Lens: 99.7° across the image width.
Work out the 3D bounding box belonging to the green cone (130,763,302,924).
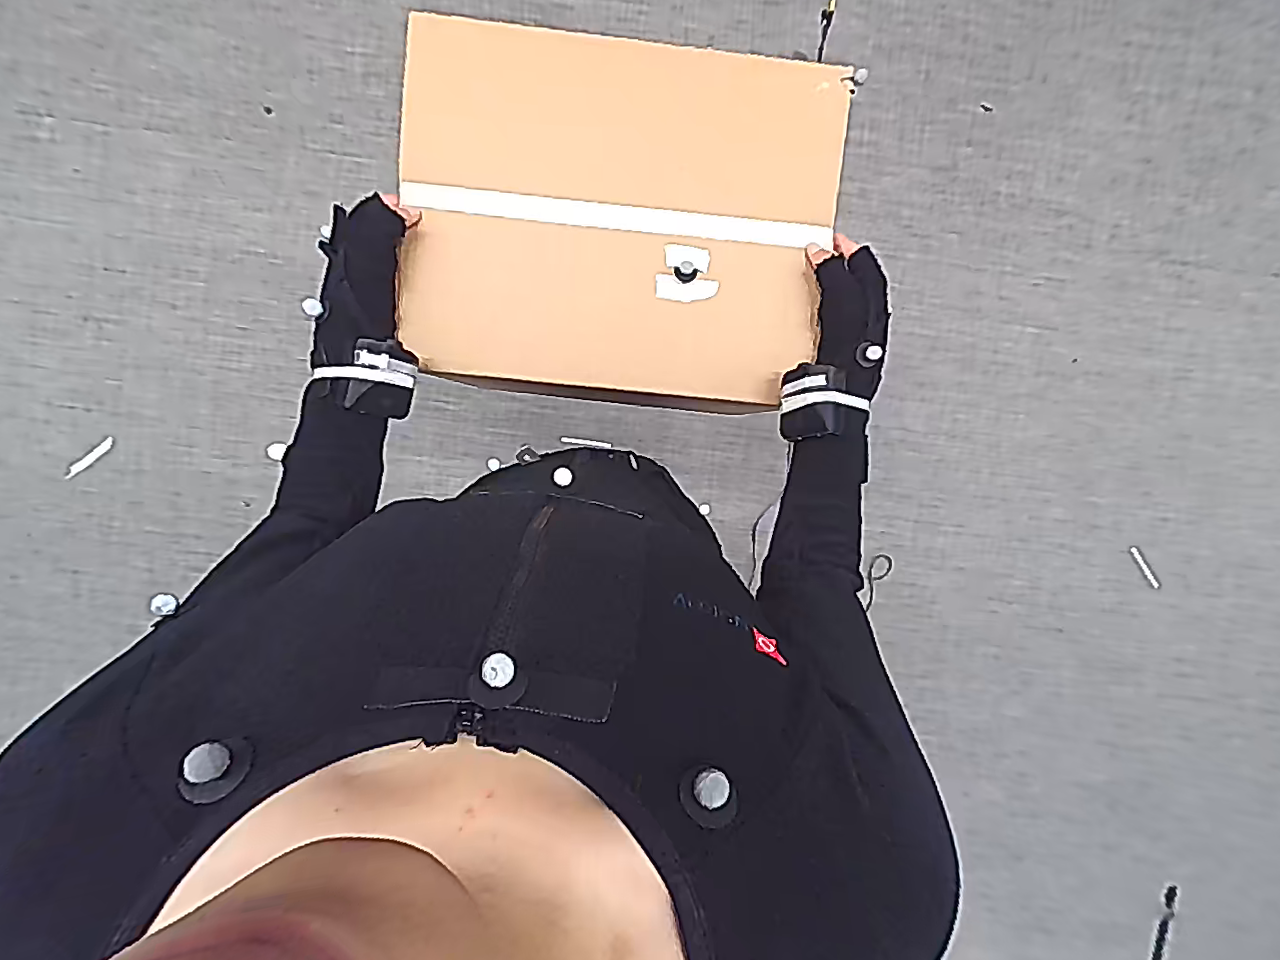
[{"bbox_3d":[-1.069,0.919,1.336,0.202,0.368,0.200,-31,93,2],"label":"green cone"}]

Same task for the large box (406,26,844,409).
[{"bbox_3d":[-0.024,-0.260,0.660,0.408,0.320,0.320,5,96,-3],"label":"large box"}]
